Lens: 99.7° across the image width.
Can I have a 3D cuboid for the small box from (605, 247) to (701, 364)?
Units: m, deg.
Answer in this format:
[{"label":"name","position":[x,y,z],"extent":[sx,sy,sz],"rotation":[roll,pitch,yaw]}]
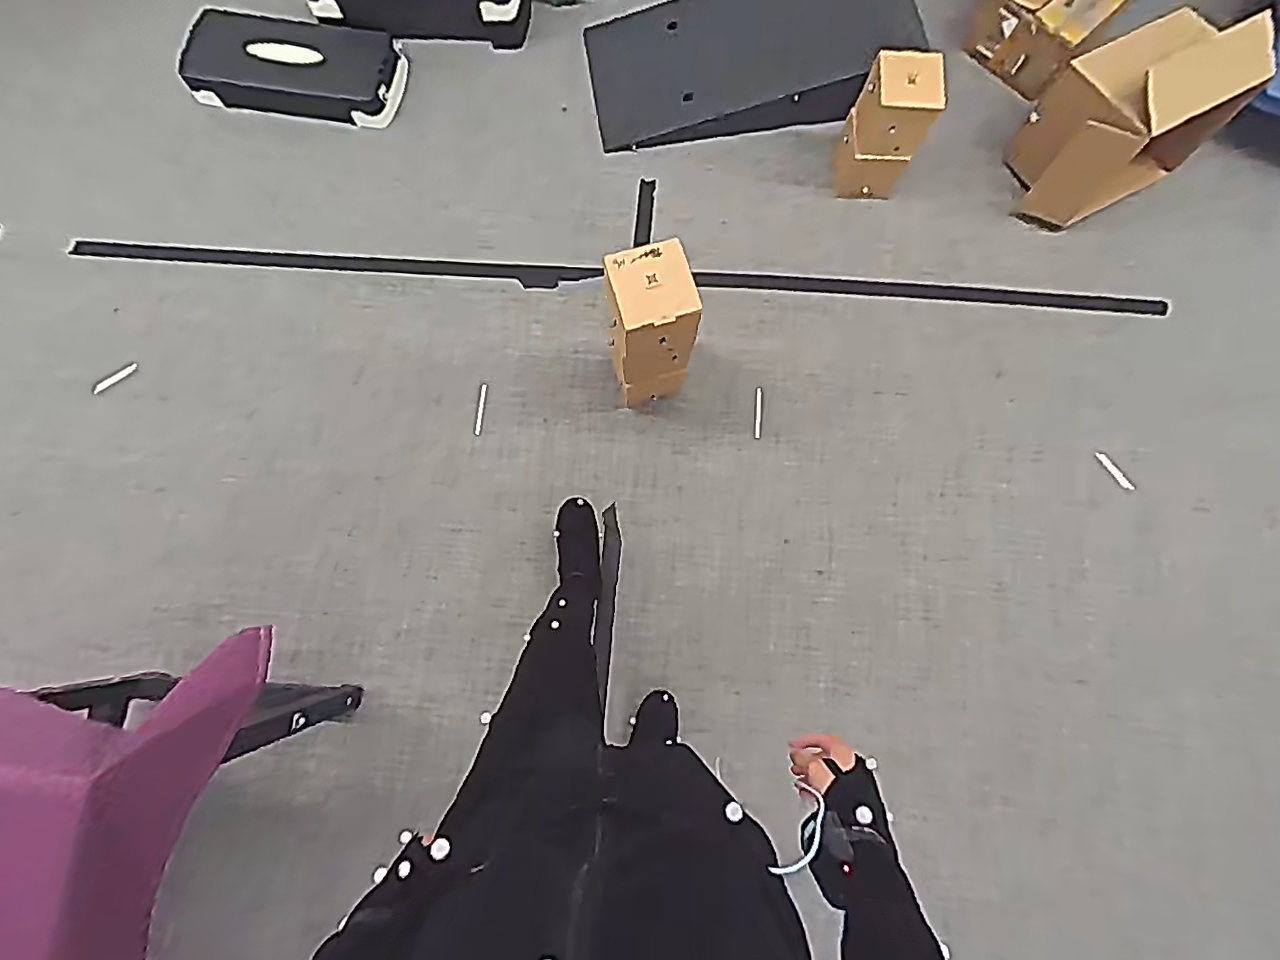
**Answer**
[{"label":"small box","position":[0.027,-0.372,1.191],"extent":[0.168,0.176,0.179],"rotation":[-15,79,-4]}]
